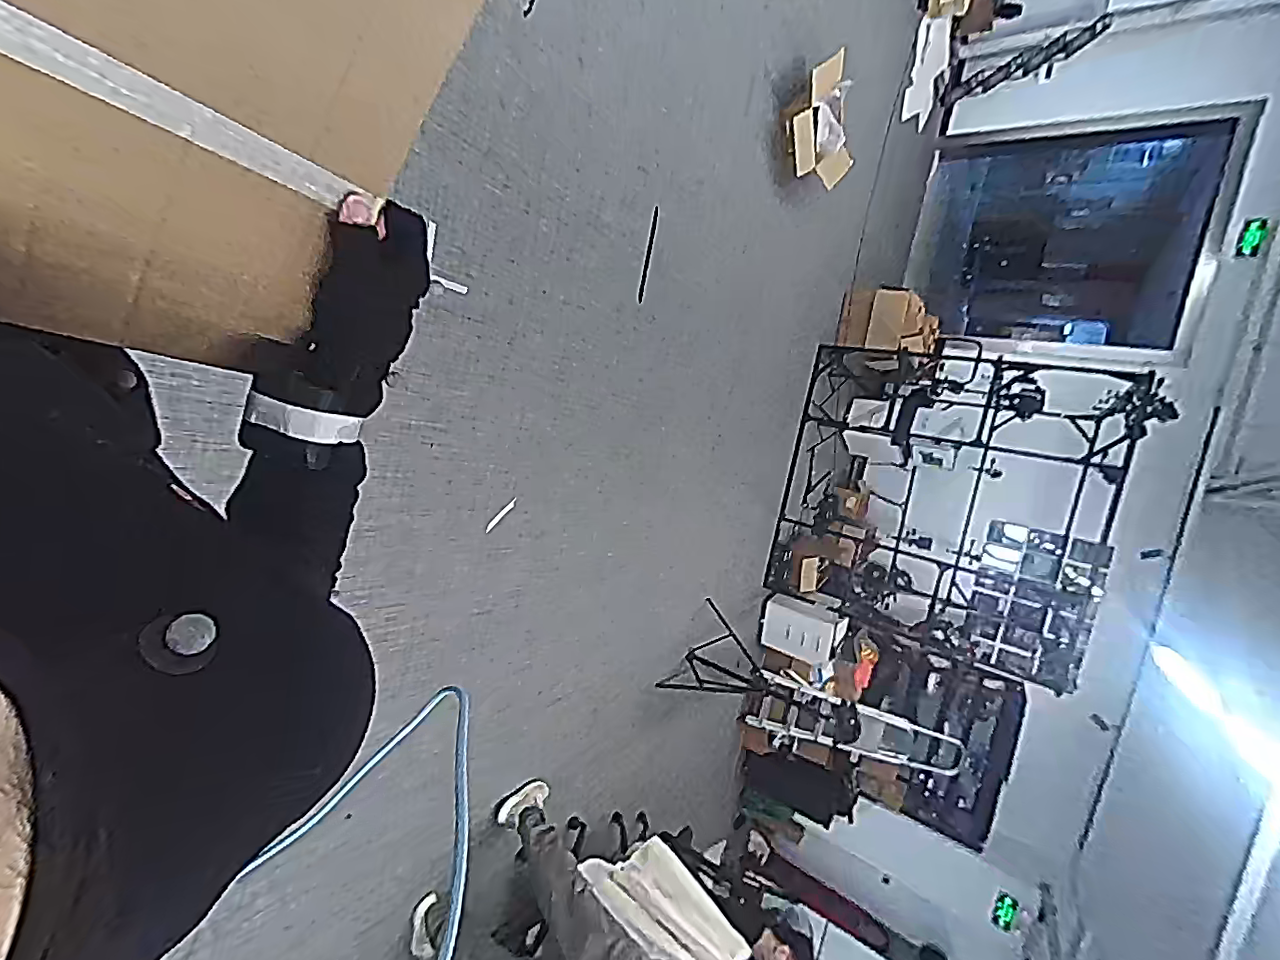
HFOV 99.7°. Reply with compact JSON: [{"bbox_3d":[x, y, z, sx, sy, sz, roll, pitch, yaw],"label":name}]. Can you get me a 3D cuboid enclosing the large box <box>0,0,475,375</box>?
[{"bbox_3d":[-0.380,-0.311,0.286,0.320,0.320,0.408,-46,150,24],"label":"large box"}]
